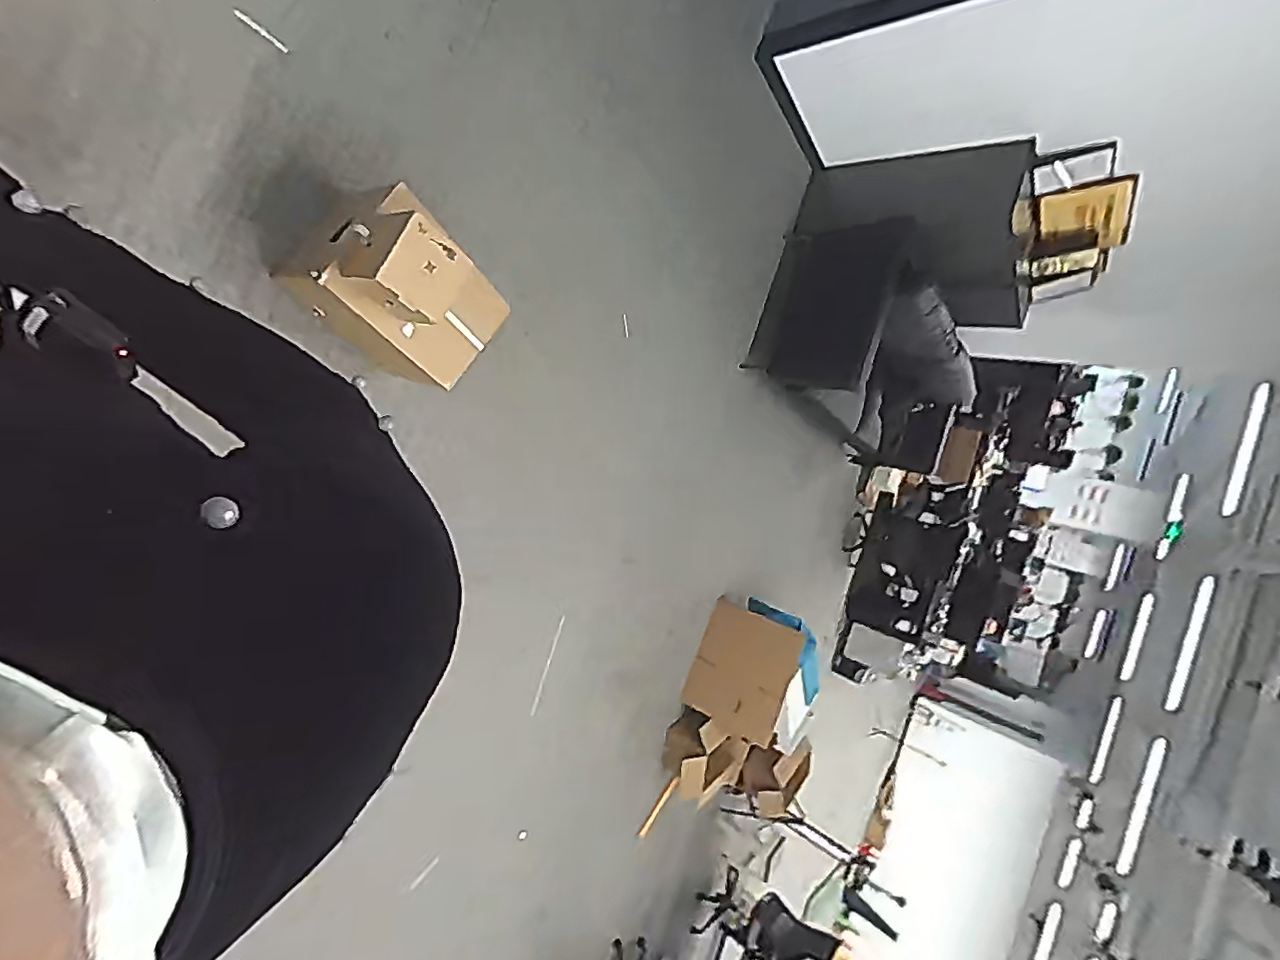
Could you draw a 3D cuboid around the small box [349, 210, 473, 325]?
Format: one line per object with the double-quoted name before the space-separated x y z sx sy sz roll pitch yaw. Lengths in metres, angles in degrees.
"small box" -0.521 -0.474 1.219 0.168 0.176 0.179 37 76 -50
